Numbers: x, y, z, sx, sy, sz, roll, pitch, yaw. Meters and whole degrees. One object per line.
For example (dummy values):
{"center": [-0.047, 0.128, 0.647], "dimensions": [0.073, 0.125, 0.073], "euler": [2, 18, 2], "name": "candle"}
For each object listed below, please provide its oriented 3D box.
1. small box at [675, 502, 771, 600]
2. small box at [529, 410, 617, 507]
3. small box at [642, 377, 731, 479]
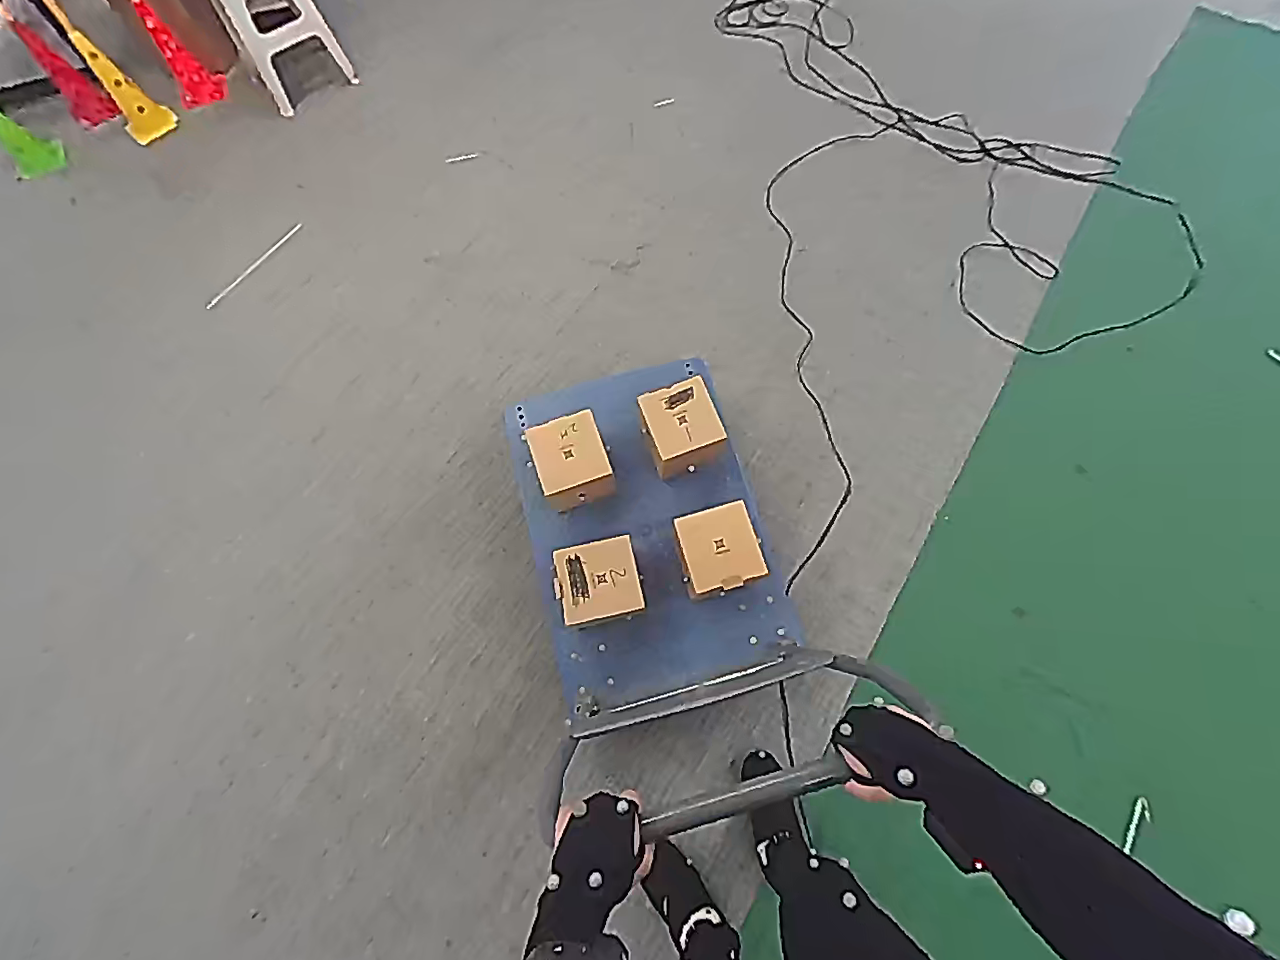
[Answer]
{"center": [0.184, 0.170, 1.261], "dimensions": [0.168, 0.176, 0.179], "euler": [-15, 75, -4], "name": "small box"}
{"center": [-0.158, -0.042, 1.329], "dimensions": [0.168, 0.176, 0.179], "euler": [-18, 74, -5], "name": "small box"}
{"center": [0.108, -0.123, 1.350], "dimensions": [0.168, 0.176, 0.179], "euler": [-19, 74, -4], "name": "small box"}
